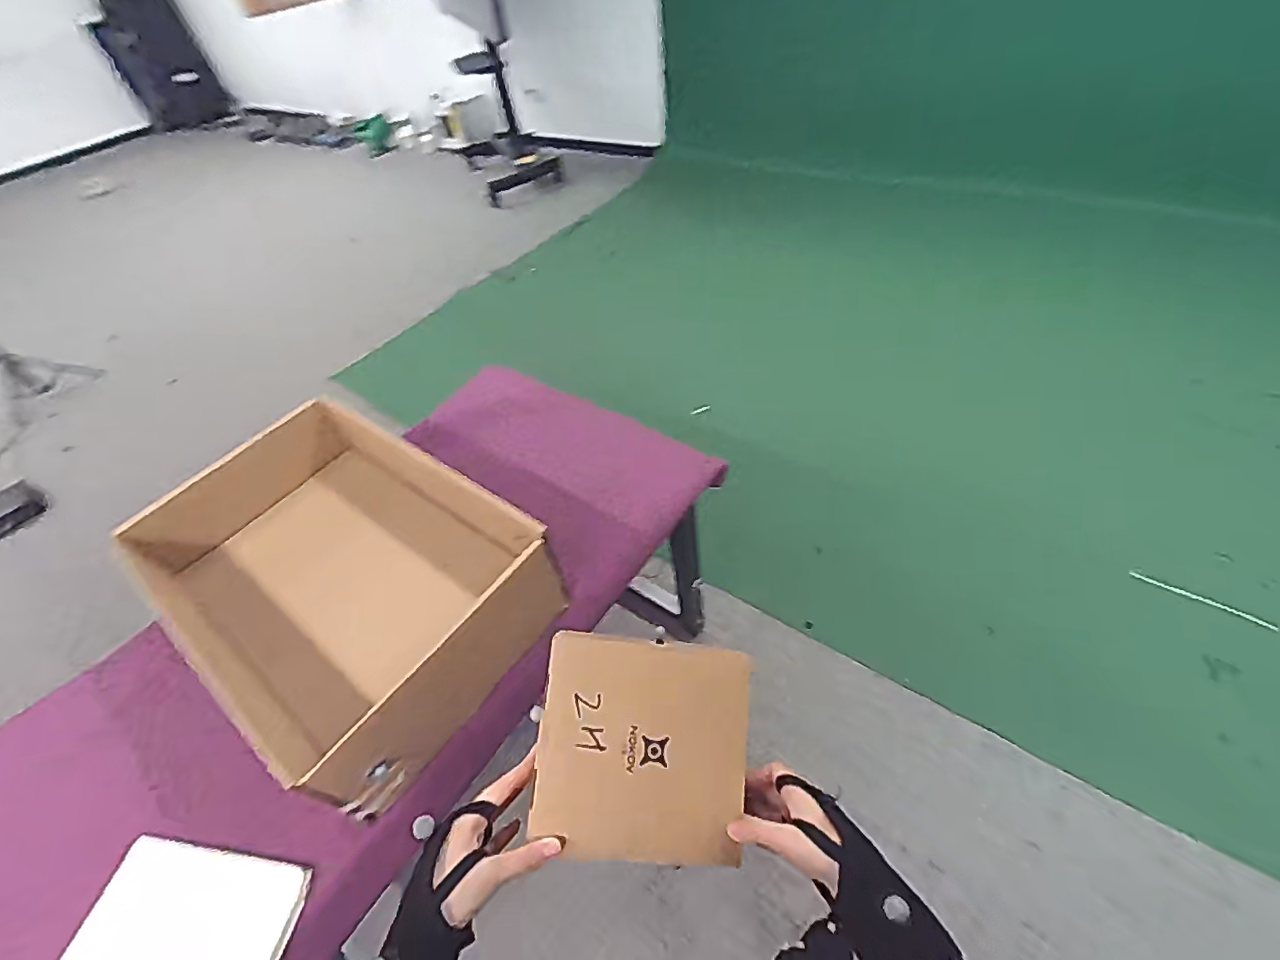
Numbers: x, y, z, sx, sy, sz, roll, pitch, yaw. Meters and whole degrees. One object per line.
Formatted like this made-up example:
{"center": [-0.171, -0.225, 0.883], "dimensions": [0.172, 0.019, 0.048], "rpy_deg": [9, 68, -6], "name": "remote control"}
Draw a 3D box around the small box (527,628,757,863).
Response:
{"center": [-0.001, 0.235, 0.520], "dimensions": [0.179, 0.176, 0.168], "rpy_deg": [8, 74, -3], "name": "small box"}
